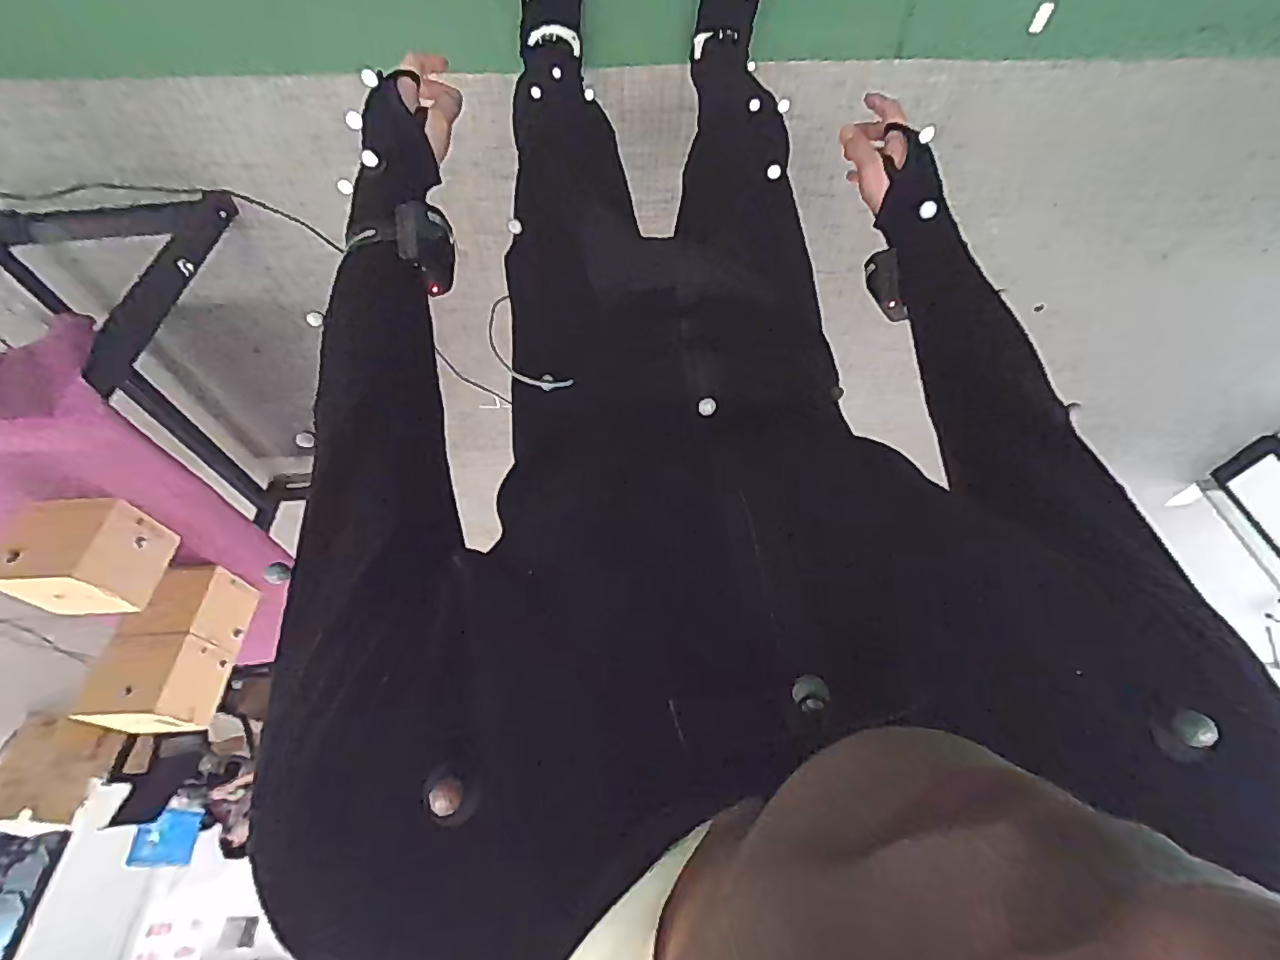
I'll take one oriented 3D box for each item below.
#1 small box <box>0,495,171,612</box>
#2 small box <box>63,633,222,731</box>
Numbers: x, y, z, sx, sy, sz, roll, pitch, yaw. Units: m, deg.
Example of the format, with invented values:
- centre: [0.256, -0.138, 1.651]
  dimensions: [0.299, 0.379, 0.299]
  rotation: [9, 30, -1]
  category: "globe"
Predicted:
- centre: [-1.074, 0.141, 1.040]
  dimensions: [0.179, 0.176, 0.168]
  rotation: [-2, 145, -1]
  category: "small box"
- centre: [-1.064, 0.441, 1.182]
  dimensions: [0.179, 0.176, 0.168]
  rotation: [-2, 145, 0]
  category: "small box"
